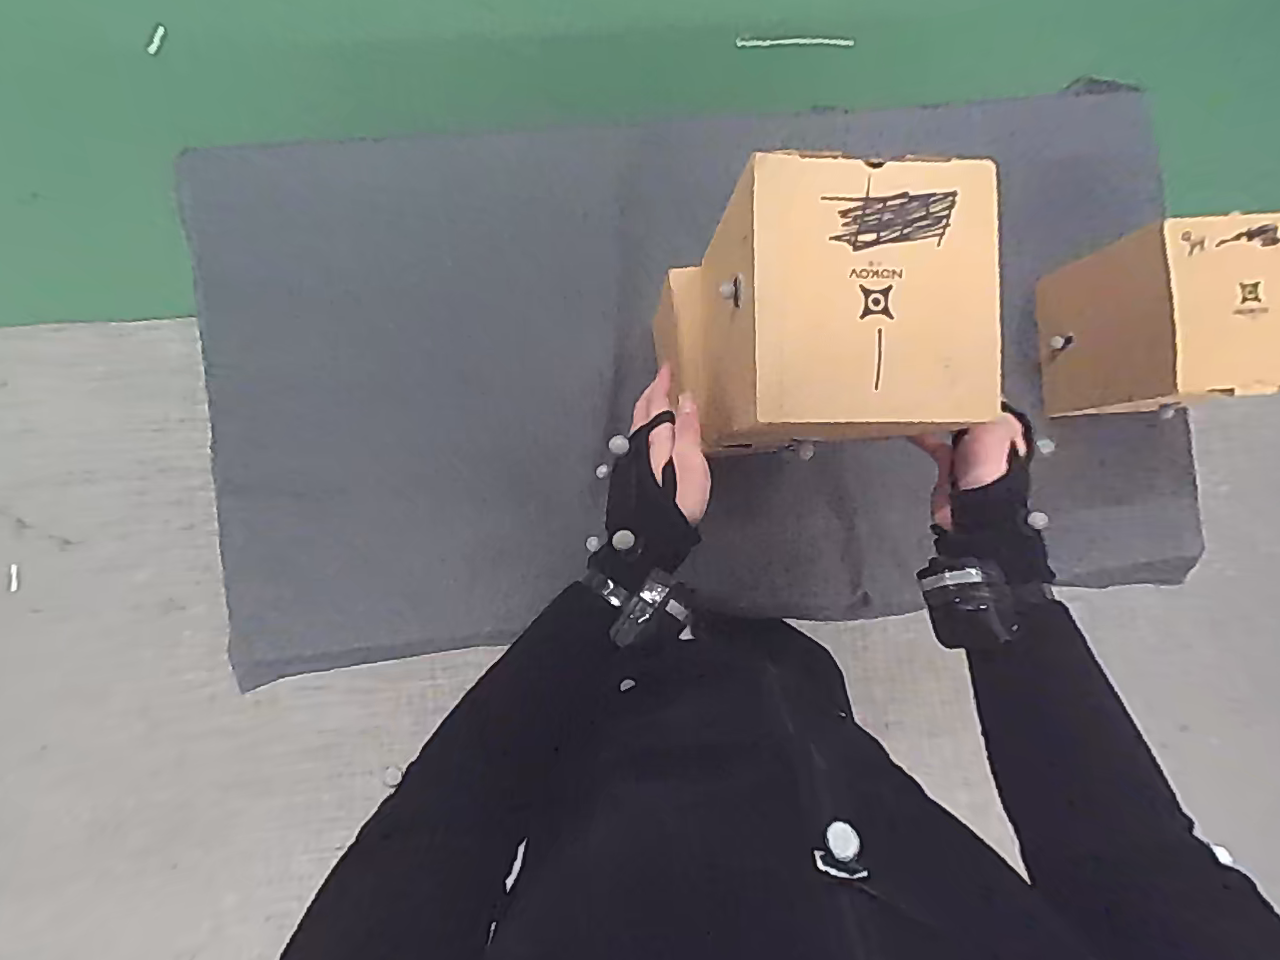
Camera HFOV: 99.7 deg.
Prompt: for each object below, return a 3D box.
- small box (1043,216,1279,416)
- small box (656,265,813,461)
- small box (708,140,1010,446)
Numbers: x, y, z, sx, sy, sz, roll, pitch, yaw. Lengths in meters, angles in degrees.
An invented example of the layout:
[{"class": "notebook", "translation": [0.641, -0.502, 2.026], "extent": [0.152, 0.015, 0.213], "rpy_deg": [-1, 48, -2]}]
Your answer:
[{"class": "small box", "translation": [0.596, -0.168, 0.605], "extent": [0.168, 0.176, 0.179], "rpy_deg": [-4, 88, -2]}, {"class": "small box", "translation": [0.113, -0.116, 0.583], "extent": [0.168, 0.176, 0.179], "rpy_deg": [-7, 87, -4]}, {"class": "small box", "translation": [0.148, -0.123, 0.421], "extent": [0.168, 0.176, 0.179], "rpy_deg": [0, 88, -4]}]
